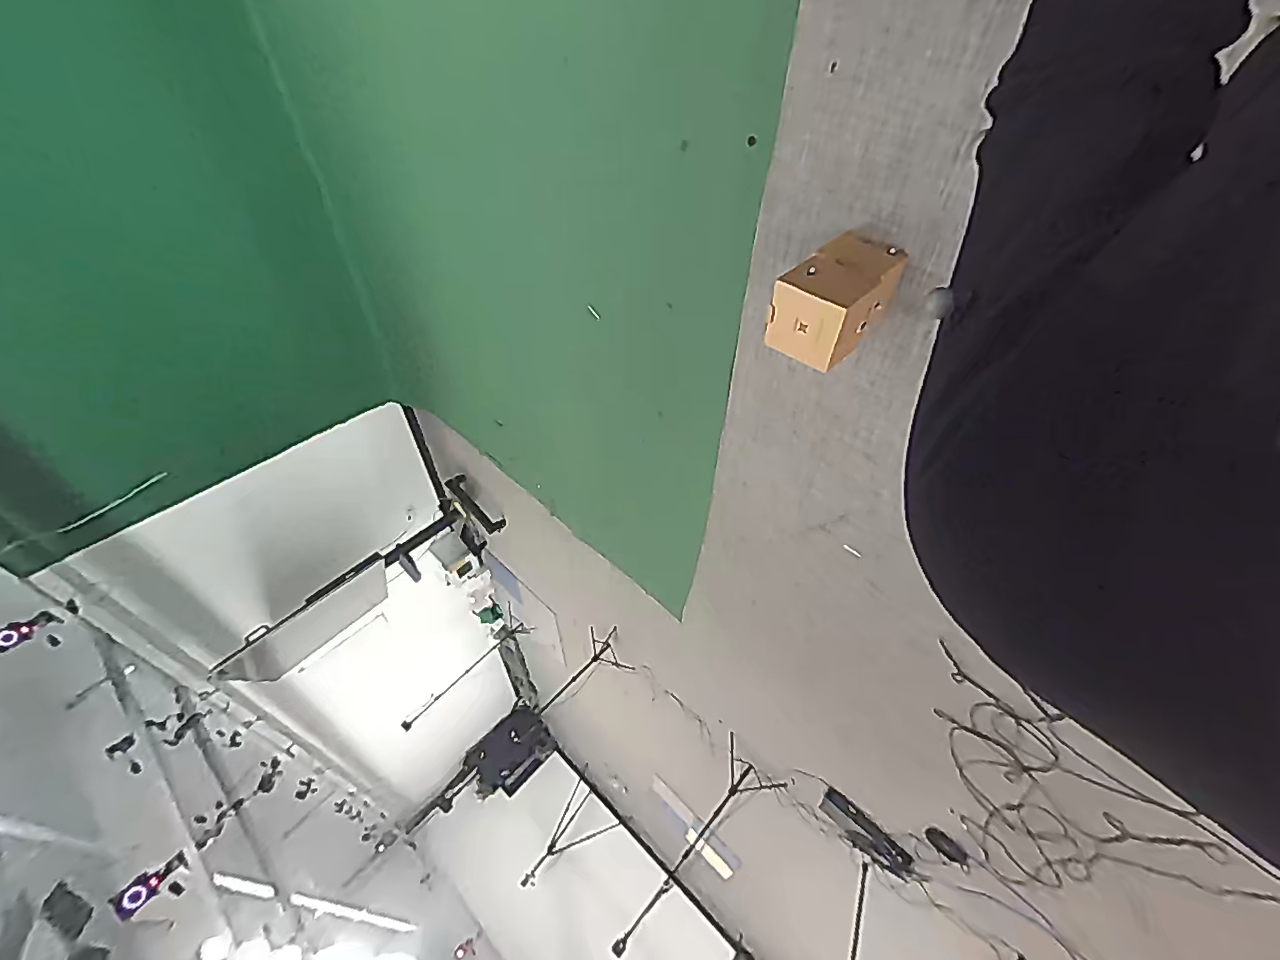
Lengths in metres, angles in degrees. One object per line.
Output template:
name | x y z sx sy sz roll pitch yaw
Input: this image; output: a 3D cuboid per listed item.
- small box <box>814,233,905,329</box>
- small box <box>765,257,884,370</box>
small box | 0.518 -0.478 1.328 0.168 0.176 0.179 37 147 25
small box | 0.418 -0.387 1.236 0.179 0.176 0.168 34 146 27
